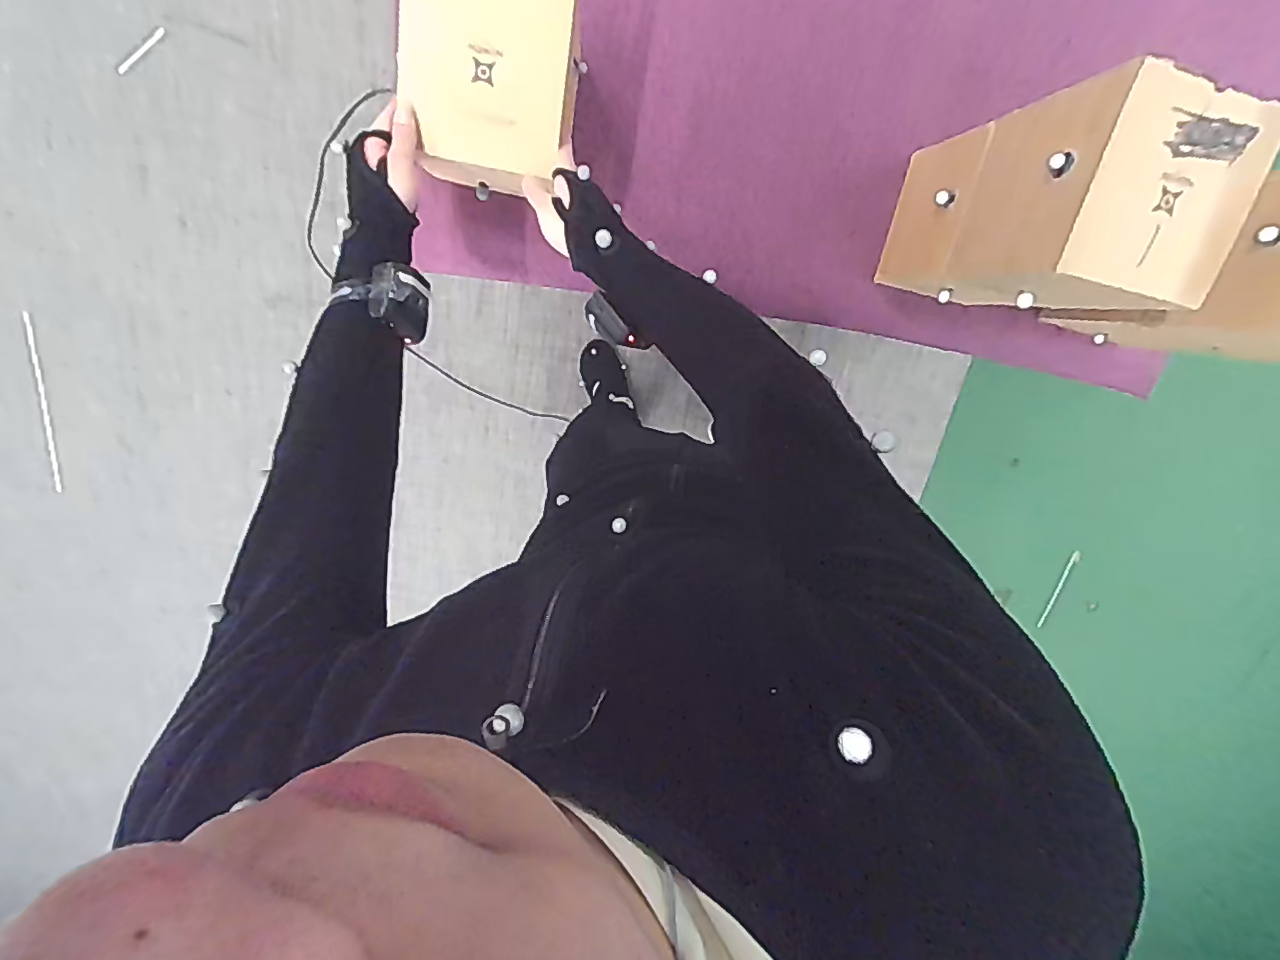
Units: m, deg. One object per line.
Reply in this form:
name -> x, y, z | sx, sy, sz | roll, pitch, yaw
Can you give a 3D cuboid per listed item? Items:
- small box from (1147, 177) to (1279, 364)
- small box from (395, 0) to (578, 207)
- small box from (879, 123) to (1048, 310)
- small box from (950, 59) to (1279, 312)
small box -> 0.741, -0.231, 0.606 | 0.168, 0.176, 0.179 | 12, 106, -9
small box -> -0.163, -0.432, 0.615 | 0.168, 0.176, 0.179 | 8, 108, -7
small box -> 0.449, -0.332, 0.718 | 0.168, 0.176, 0.179 | 9, 106, -9
small box -> 0.467, -0.282, 0.563 | 0.168, 0.176, 0.179 | 10, 107, -9
